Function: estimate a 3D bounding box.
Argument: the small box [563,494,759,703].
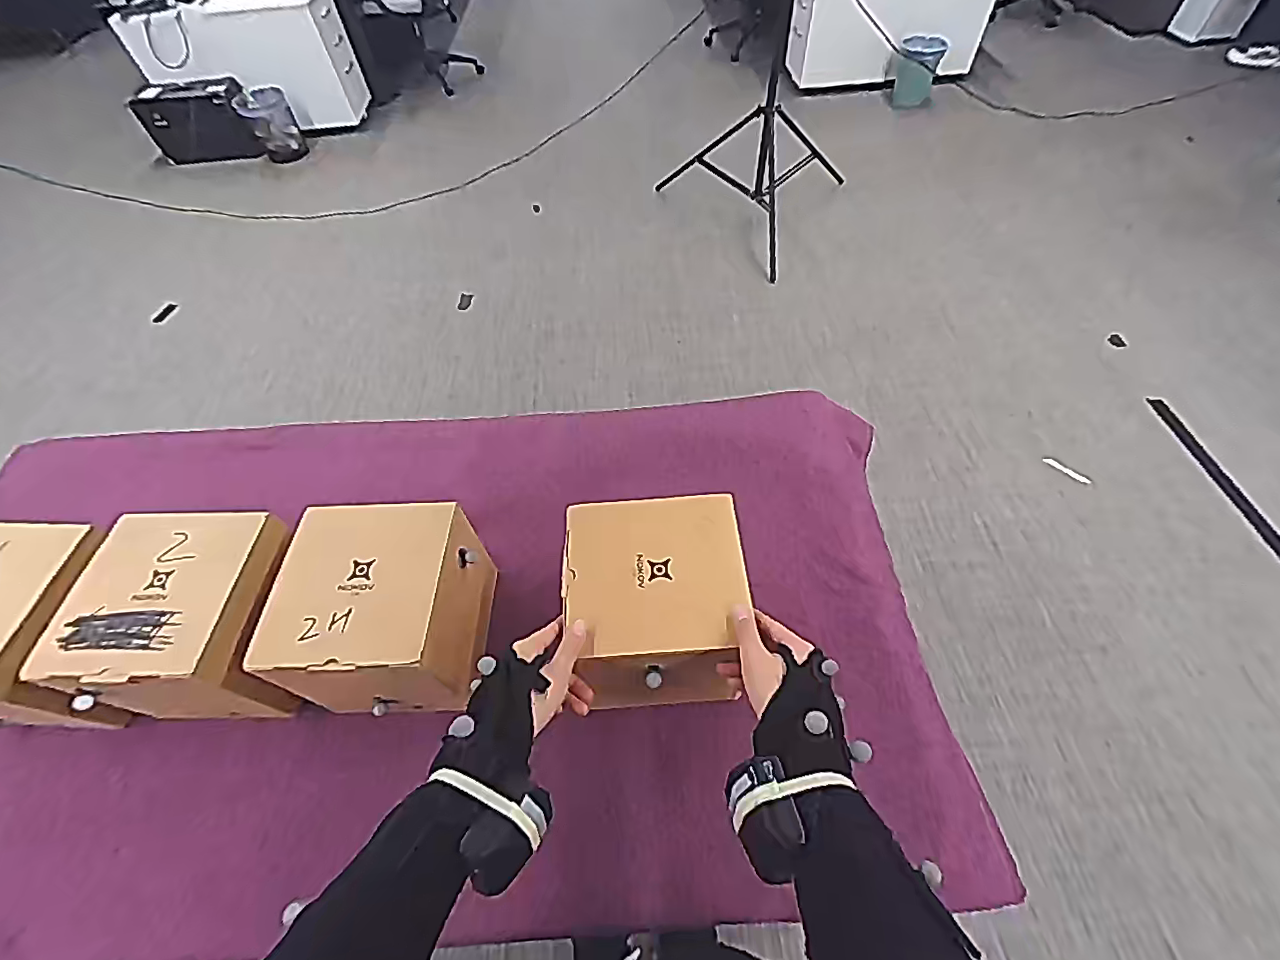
[{"bbox_3d":[0.019,0.133,0.586,0.179,0.176,0.168,-5,54,1],"label":"small box"}]
